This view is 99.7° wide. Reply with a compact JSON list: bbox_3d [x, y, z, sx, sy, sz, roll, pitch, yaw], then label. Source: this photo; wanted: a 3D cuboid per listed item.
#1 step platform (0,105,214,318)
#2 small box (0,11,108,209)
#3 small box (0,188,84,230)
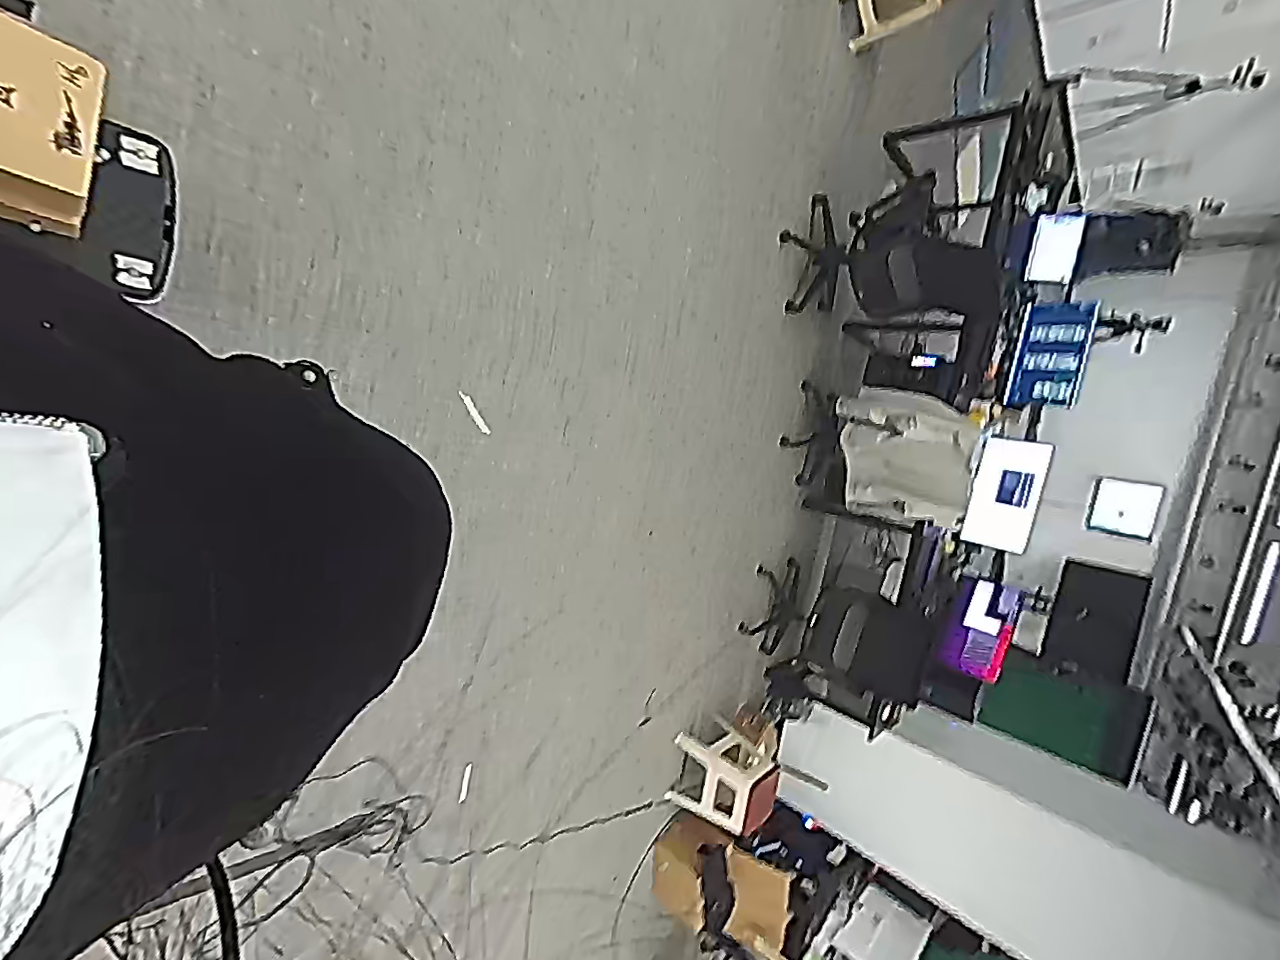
[{"bbox_3d":[-0.962,-0.414,0.651,0.684,0.204,0.286,3,99,-49],"label":"step platform"},{"bbox_3d":[-0.778,-0.451,0.651,0.179,0.176,0.168,9,95,-48],"label":"small box"},{"bbox_3d":[-0.902,-0.466,0.759,0.179,0.176,0.168,6,96,-47],"label":"small box"}]
